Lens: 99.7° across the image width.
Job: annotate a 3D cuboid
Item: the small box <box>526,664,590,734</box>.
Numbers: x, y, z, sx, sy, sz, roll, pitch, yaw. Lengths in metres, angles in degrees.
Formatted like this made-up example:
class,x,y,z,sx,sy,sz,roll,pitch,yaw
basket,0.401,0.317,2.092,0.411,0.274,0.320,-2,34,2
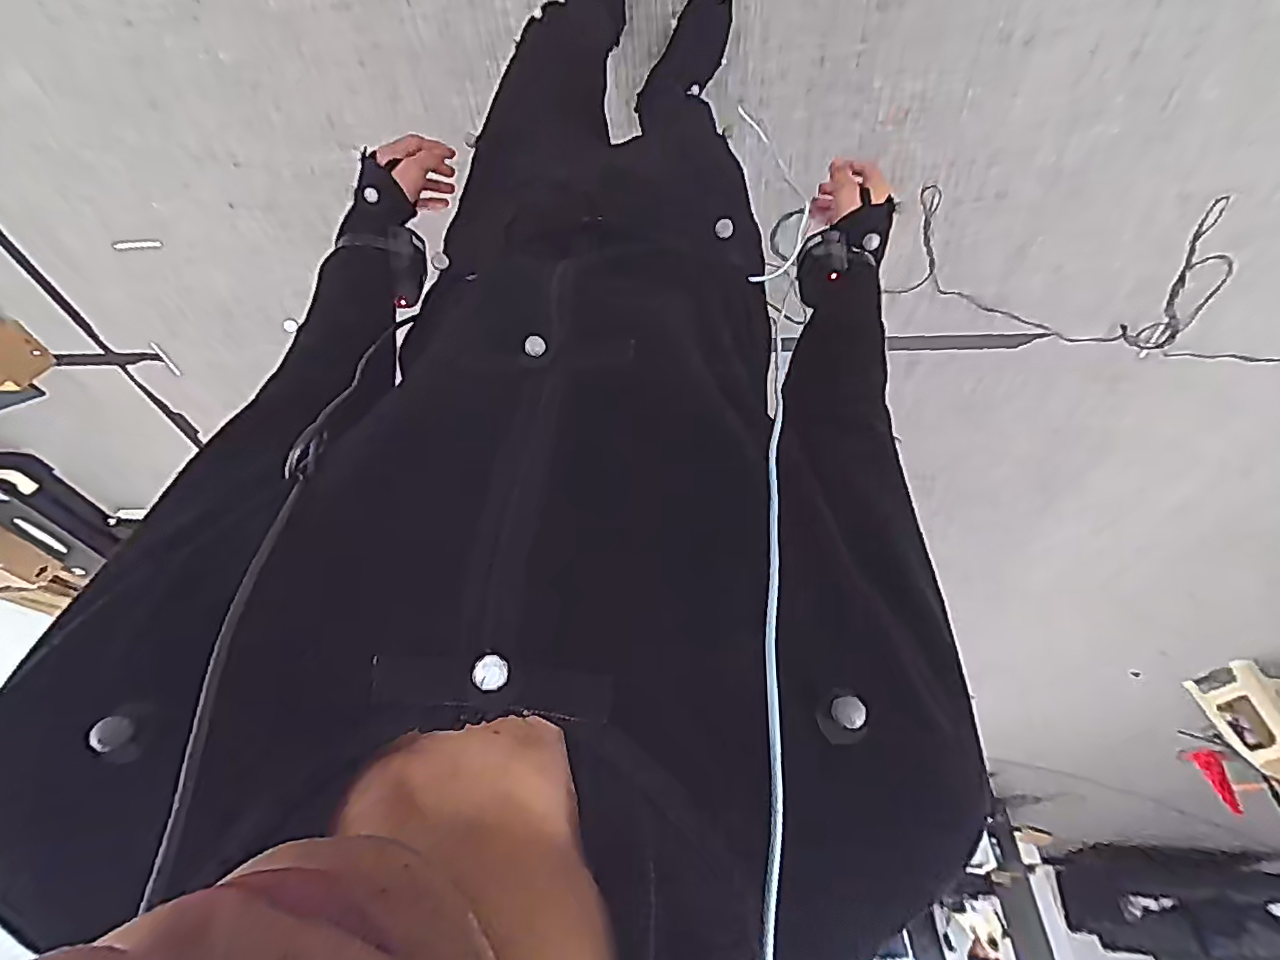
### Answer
class,x,y,z,sx,sy,sz,roll,pitch,yaw
small box,-0.264,0.718,1.776,0.168,0.176,0.179,0,138,7
